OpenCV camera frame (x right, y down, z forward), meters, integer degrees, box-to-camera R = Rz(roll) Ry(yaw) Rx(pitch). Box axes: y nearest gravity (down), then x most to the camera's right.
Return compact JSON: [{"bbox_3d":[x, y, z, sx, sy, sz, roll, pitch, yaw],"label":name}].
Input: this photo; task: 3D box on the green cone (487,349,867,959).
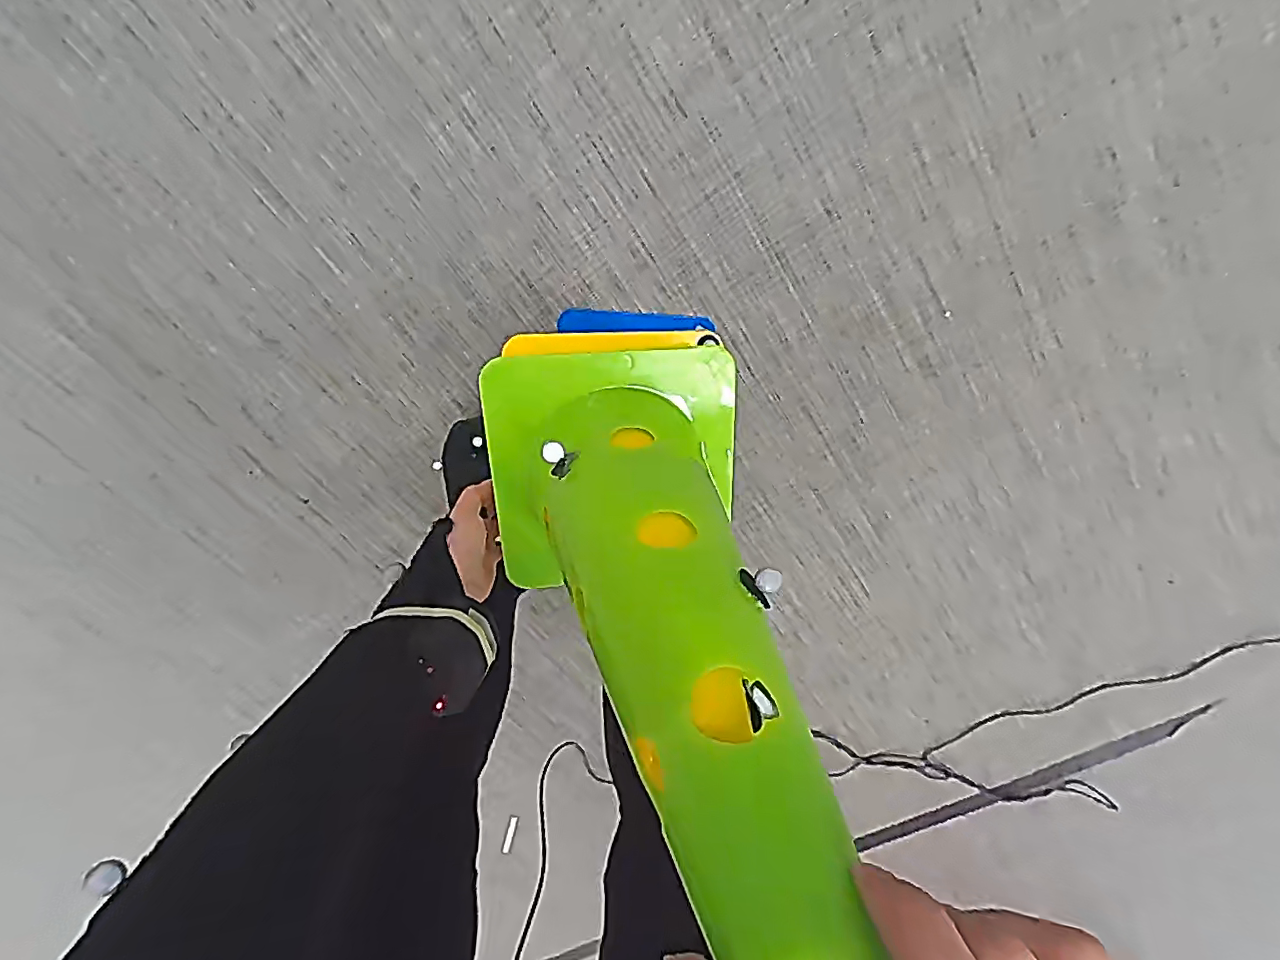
[{"bbox_3d":[0.014,0.058,0.285,0.202,0.368,0.200,-6,112,-7],"label":"green cone"}]
